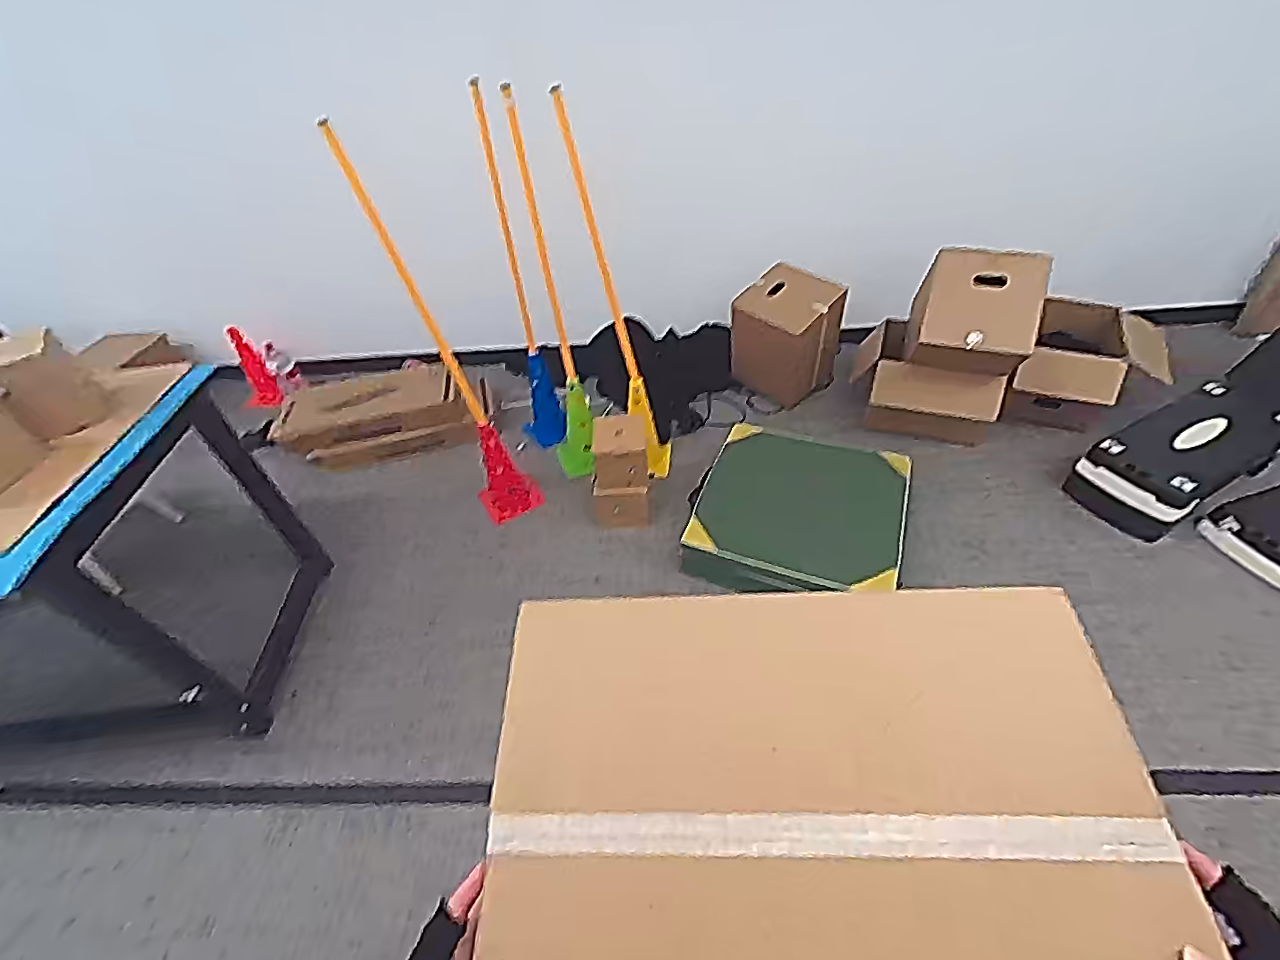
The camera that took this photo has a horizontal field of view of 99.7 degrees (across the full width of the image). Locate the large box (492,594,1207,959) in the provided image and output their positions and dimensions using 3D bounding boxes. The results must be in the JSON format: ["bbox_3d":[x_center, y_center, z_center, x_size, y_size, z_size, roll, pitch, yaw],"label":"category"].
[{"bbox_3d":[0.123,0.308,0.461,0.408,0.320,0.320,-3,57,6],"label":"large box"}]
